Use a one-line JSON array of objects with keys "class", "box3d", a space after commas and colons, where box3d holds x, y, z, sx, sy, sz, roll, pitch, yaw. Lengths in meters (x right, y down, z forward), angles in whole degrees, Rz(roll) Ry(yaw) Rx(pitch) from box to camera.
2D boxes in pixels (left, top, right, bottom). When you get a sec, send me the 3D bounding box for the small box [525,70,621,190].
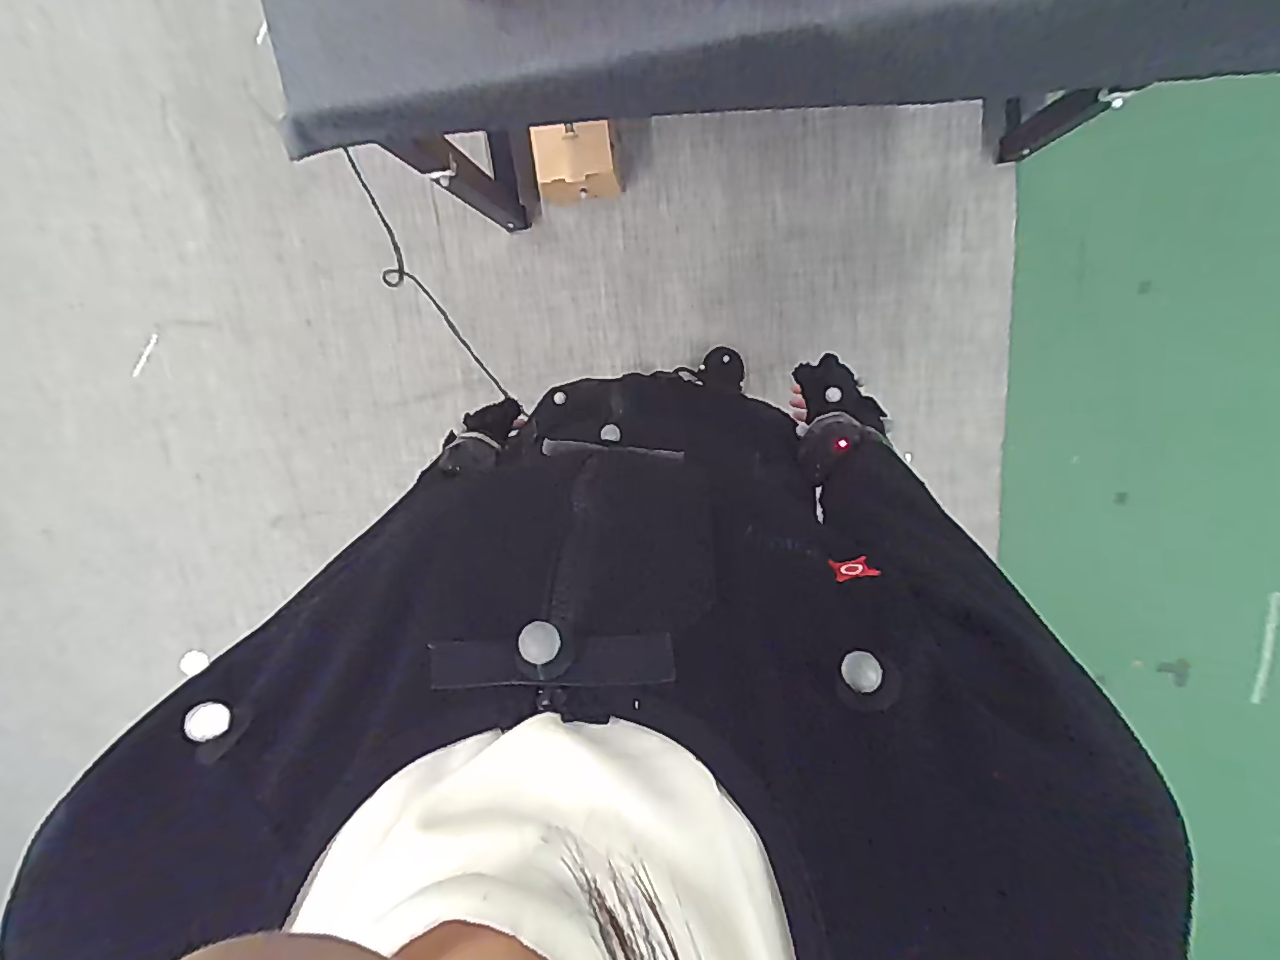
[{"class": "small box", "box3d": [-0.139, -0.755, 1.190, 0.168, 0.176, 0.179, -5, 104, 6]}]
